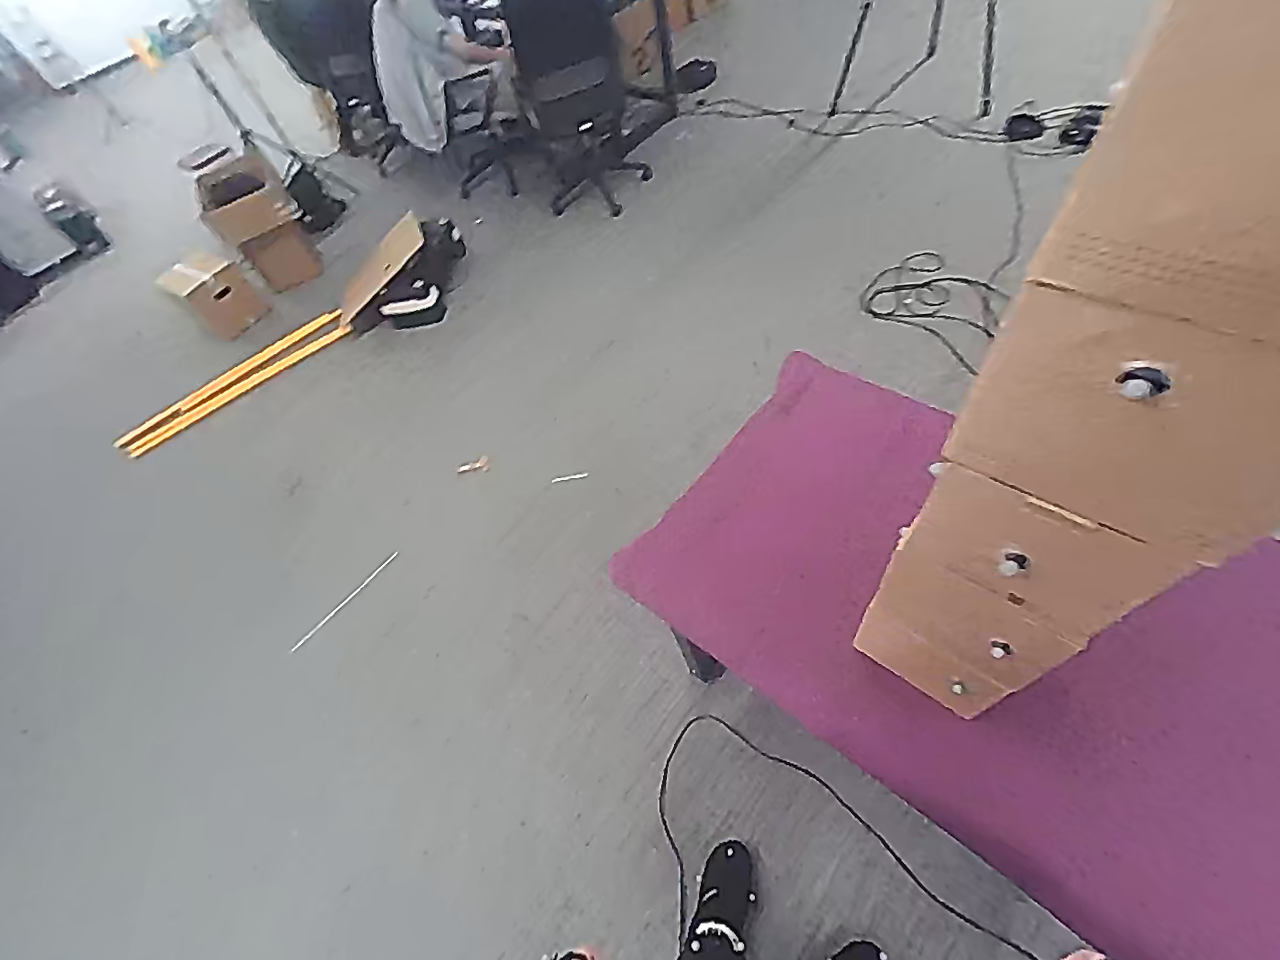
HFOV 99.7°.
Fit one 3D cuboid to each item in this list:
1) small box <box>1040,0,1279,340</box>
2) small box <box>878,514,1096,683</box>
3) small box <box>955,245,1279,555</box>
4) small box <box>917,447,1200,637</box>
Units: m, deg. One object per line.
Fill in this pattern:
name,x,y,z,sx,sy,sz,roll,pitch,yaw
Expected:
small box,0.319,-0.172,0.223,0.179,0.176,0.168,31,67,30
small box,0.402,0.107,0.616,0.179,0.176,0.168,32,68,30
small box,0.344,-0.080,0.354,0.179,0.176,0.168,31,67,28
small box,0.375,0.010,0.488,0.168,0.176,0.179,31,67,29
